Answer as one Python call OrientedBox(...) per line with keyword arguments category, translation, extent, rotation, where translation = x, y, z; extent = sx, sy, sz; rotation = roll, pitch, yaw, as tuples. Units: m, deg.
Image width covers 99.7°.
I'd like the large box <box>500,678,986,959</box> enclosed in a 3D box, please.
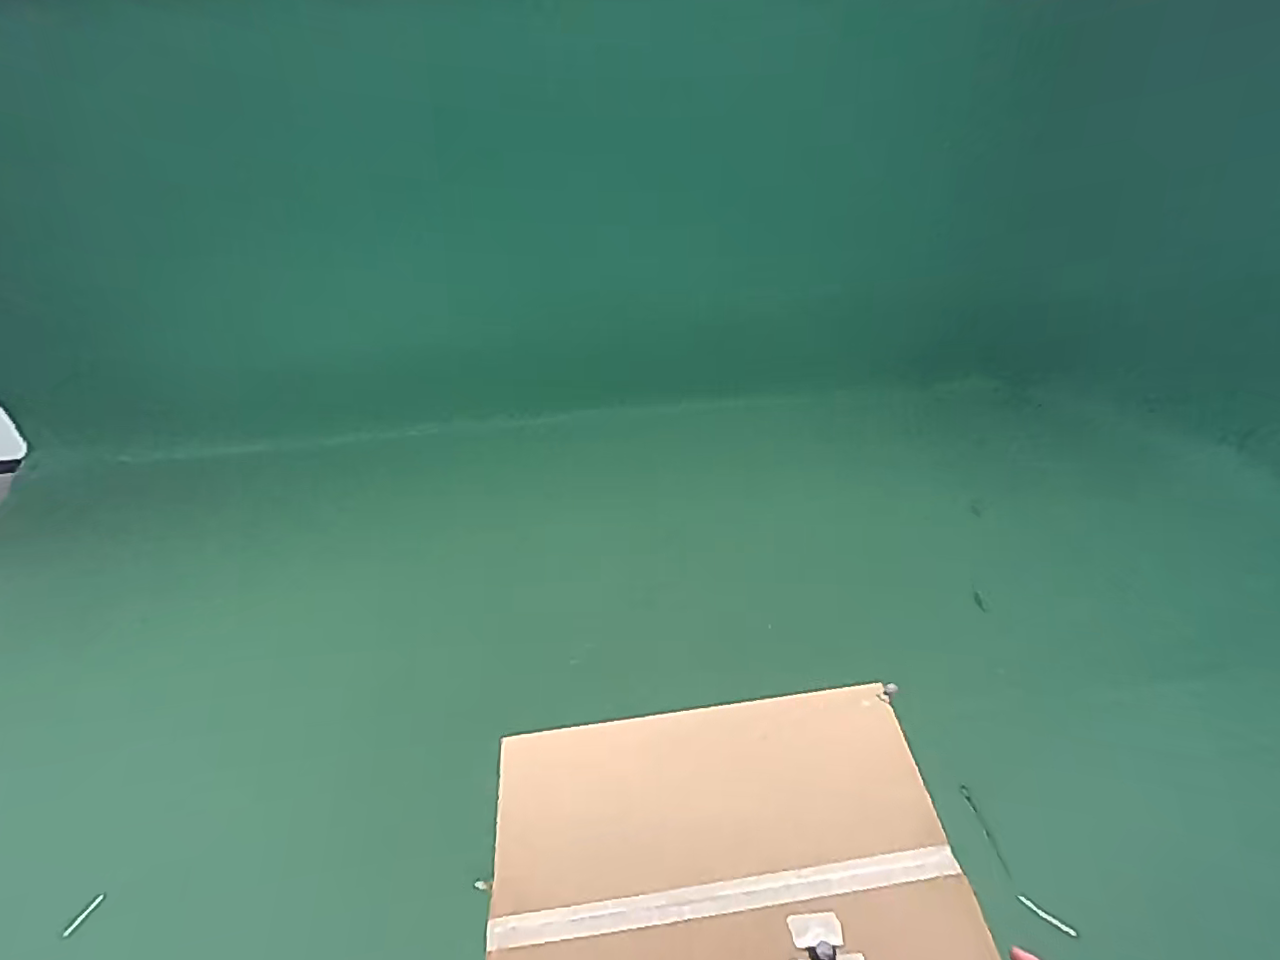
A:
OrientedBox(category="large box", translation=(0.081, 0.453, 0.592), extent=(0.408, 0.320, 0.320), rotation=(-7, 50, -2))
